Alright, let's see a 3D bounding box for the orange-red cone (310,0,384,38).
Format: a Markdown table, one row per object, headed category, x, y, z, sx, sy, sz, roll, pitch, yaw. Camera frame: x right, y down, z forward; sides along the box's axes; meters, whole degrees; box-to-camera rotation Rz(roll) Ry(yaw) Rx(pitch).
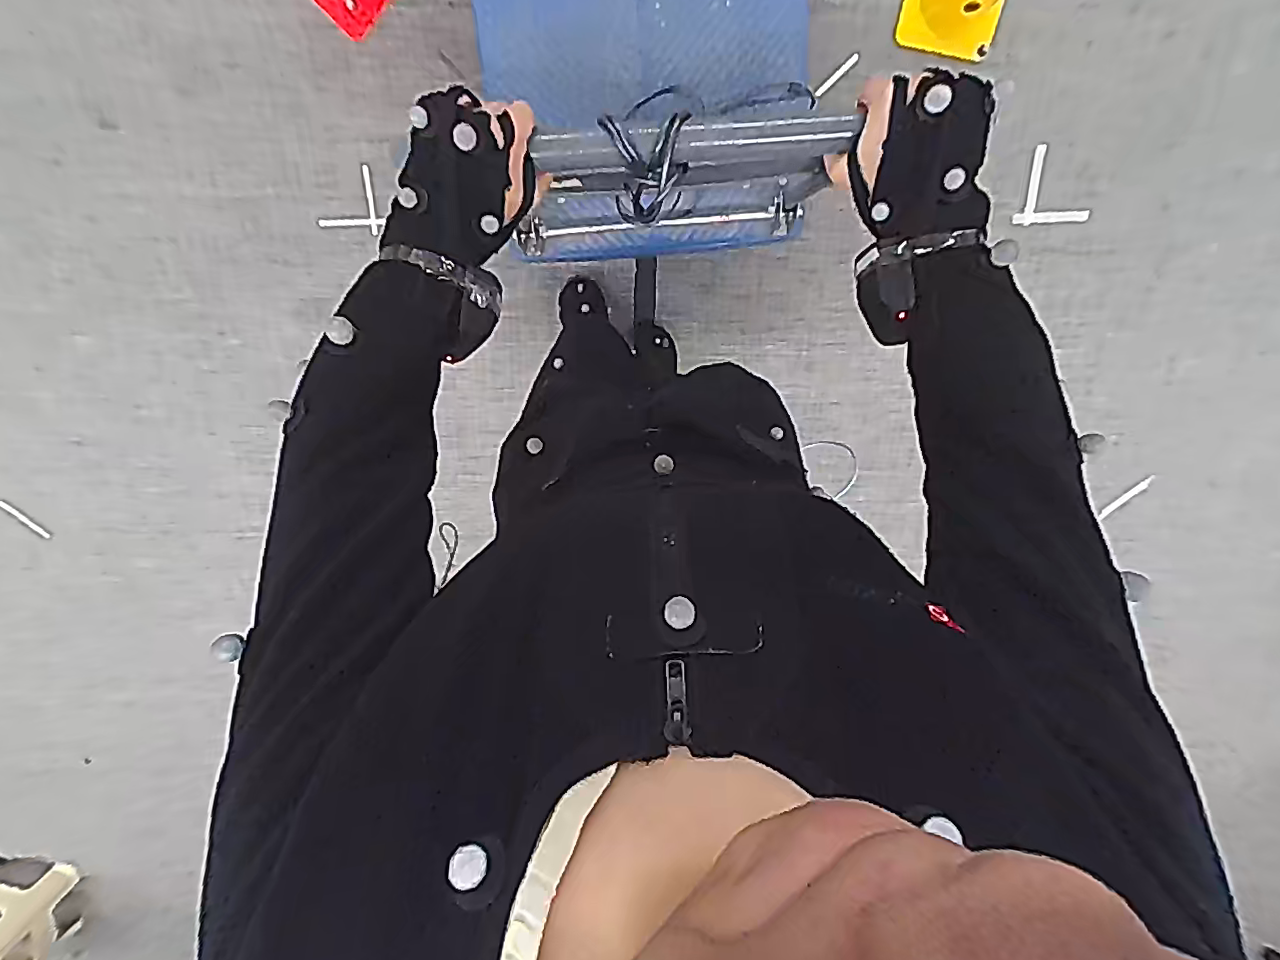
| category | x | y | z | sx | sy | sz | roll | pitch | yaw |
| --- | --- | --- | --- | --- | --- | --- | --- | --- | --- |
| orange-red cone | -0.555 | -0.928 | 0.856 | 0.199 | 0.360 | 0.198 | -43 | 106 | 11 |
